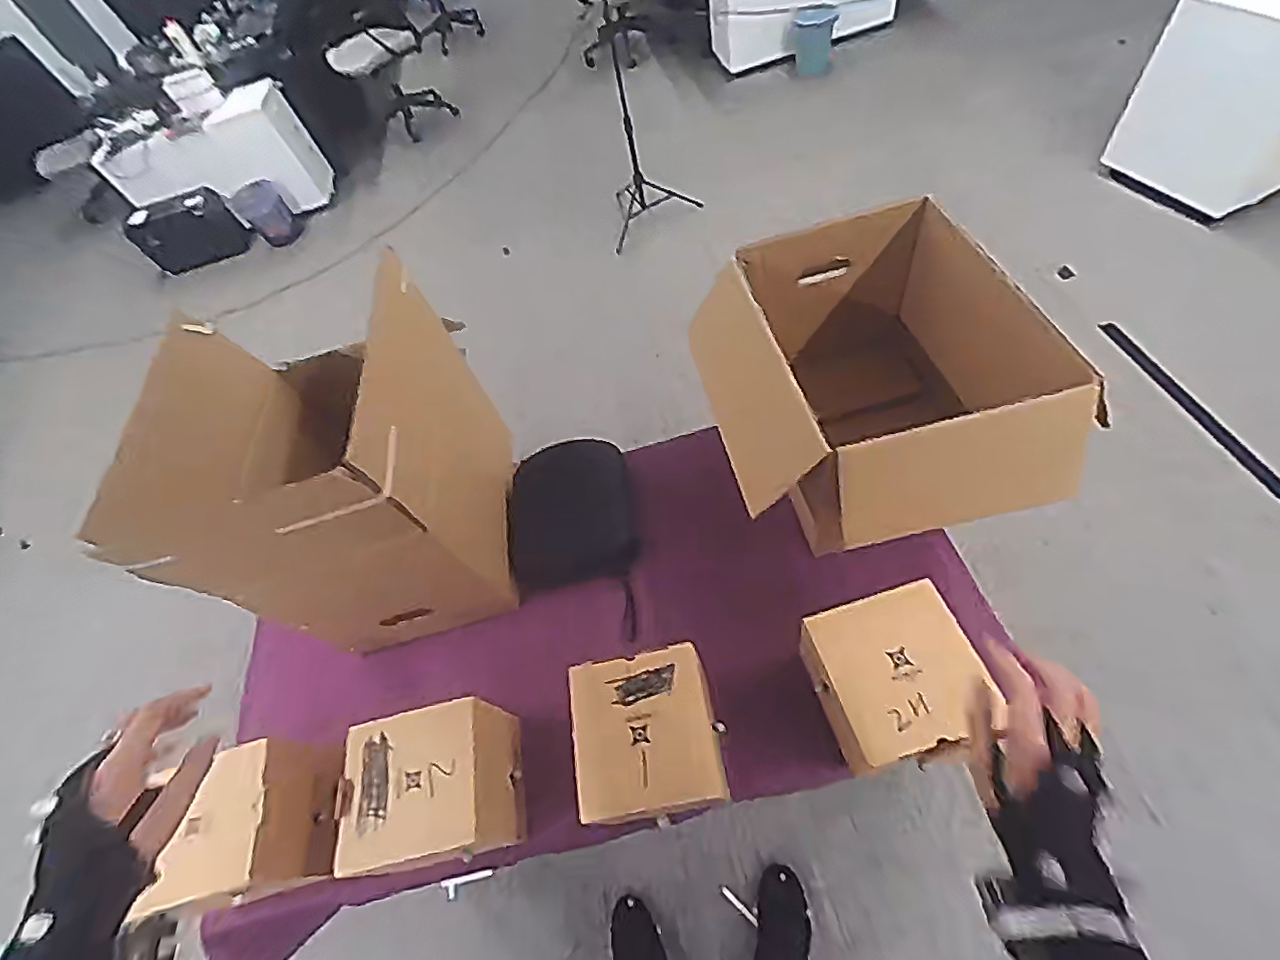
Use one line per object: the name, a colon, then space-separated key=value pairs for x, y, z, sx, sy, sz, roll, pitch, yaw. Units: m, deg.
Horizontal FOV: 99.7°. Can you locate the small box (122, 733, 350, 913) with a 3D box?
small box: x=-0.544 y=0.477 z=0.758 sx=0.179 sy=0.176 sz=0.168 roll=-17 pitch=56 yaw=0

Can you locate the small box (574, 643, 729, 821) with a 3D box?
small box: x=0.018 y=0.337 z=0.714 sx=0.168 sy=0.176 sz=0.179 roll=-13 pitch=57 yaw=5

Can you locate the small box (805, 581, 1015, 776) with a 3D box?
small box: x=0.320 y=0.258 z=0.691 sx=0.168 sy=0.176 sz=0.179 roll=-18 pitch=56 yaw=3
